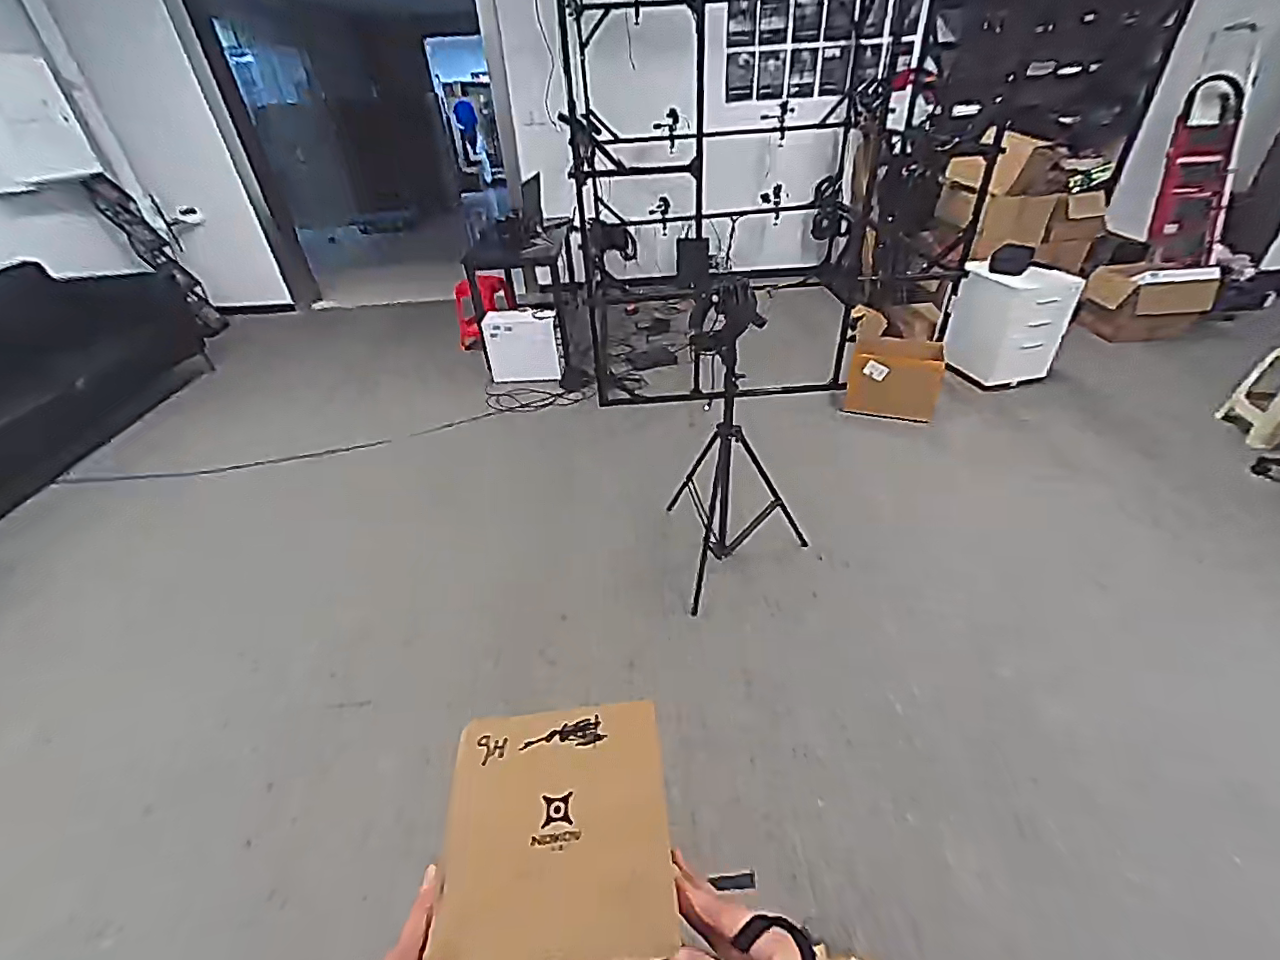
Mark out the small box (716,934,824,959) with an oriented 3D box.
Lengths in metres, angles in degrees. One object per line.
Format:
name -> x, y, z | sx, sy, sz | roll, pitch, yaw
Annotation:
small box -> 0.206, 0.842, 0.839 | 0.168, 0.176, 0.179 | -2, 35, 2

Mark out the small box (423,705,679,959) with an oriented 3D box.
small box -> -0.059, 0.317, 0.449 | 0.168, 0.176, 0.179 | -6, 41, -2
